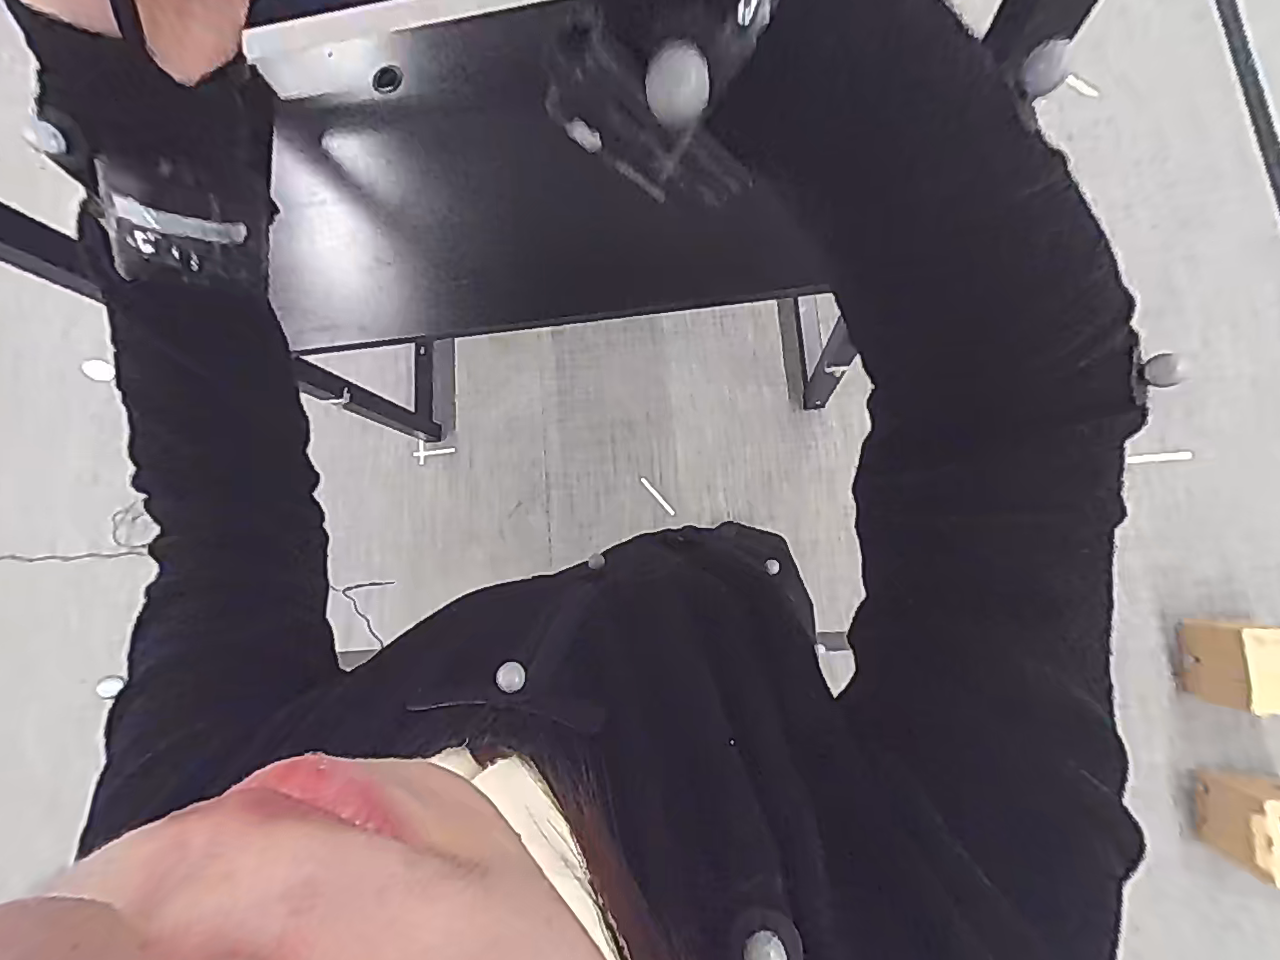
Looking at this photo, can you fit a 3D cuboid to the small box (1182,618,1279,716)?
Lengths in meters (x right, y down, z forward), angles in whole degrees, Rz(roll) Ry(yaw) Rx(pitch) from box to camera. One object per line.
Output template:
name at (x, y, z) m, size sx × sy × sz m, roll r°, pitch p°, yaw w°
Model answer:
small box at (1.360, 0.407, 1.191) m, size 0.168 × 0.176 × 0.179 m, roll 0°, pitch 82°, yaw 8°

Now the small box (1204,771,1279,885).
small box at (1.356, 0.735, 1.143) m, size 0.179 × 0.176 × 0.168 m, roll 1°, pitch 82°, yaw 8°
